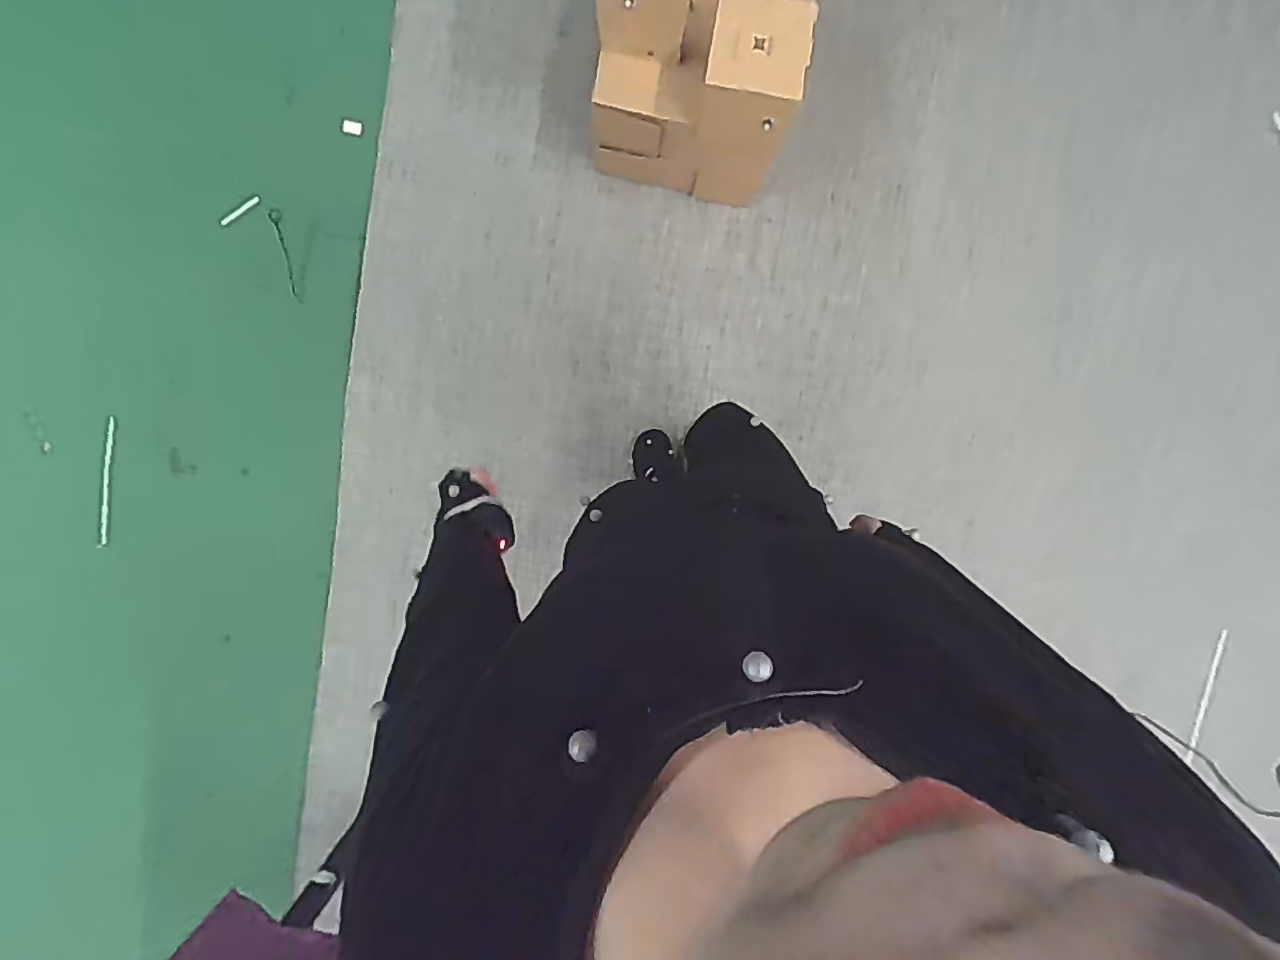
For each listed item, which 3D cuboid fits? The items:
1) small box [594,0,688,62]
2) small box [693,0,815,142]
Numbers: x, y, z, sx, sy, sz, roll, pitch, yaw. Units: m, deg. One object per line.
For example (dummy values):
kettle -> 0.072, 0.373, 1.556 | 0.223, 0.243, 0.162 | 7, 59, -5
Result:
small box -> 0.007, -0.938, 1.007 | 0.168, 0.176, 0.179 | 11, 94, 0
small box -> 0.205, -0.770, 1.018 | 0.179, 0.176, 0.168 | 9, 94, 0
